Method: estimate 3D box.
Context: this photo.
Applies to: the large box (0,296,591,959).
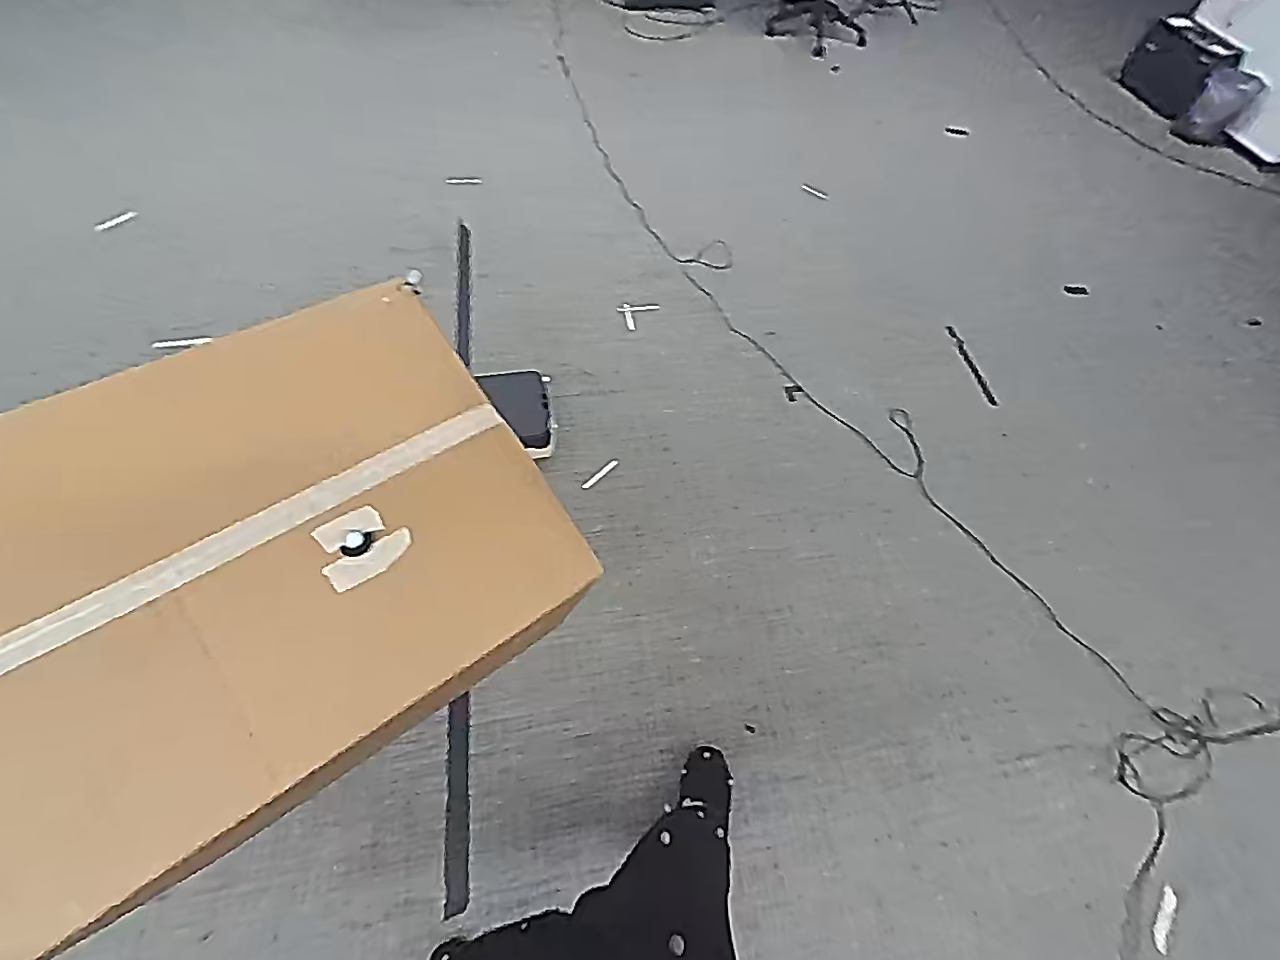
[{"bbox_3d":[-0.312,0.104,0.516,0.408,0.320,0.320,-31,79,-24],"label":"large box"}]
